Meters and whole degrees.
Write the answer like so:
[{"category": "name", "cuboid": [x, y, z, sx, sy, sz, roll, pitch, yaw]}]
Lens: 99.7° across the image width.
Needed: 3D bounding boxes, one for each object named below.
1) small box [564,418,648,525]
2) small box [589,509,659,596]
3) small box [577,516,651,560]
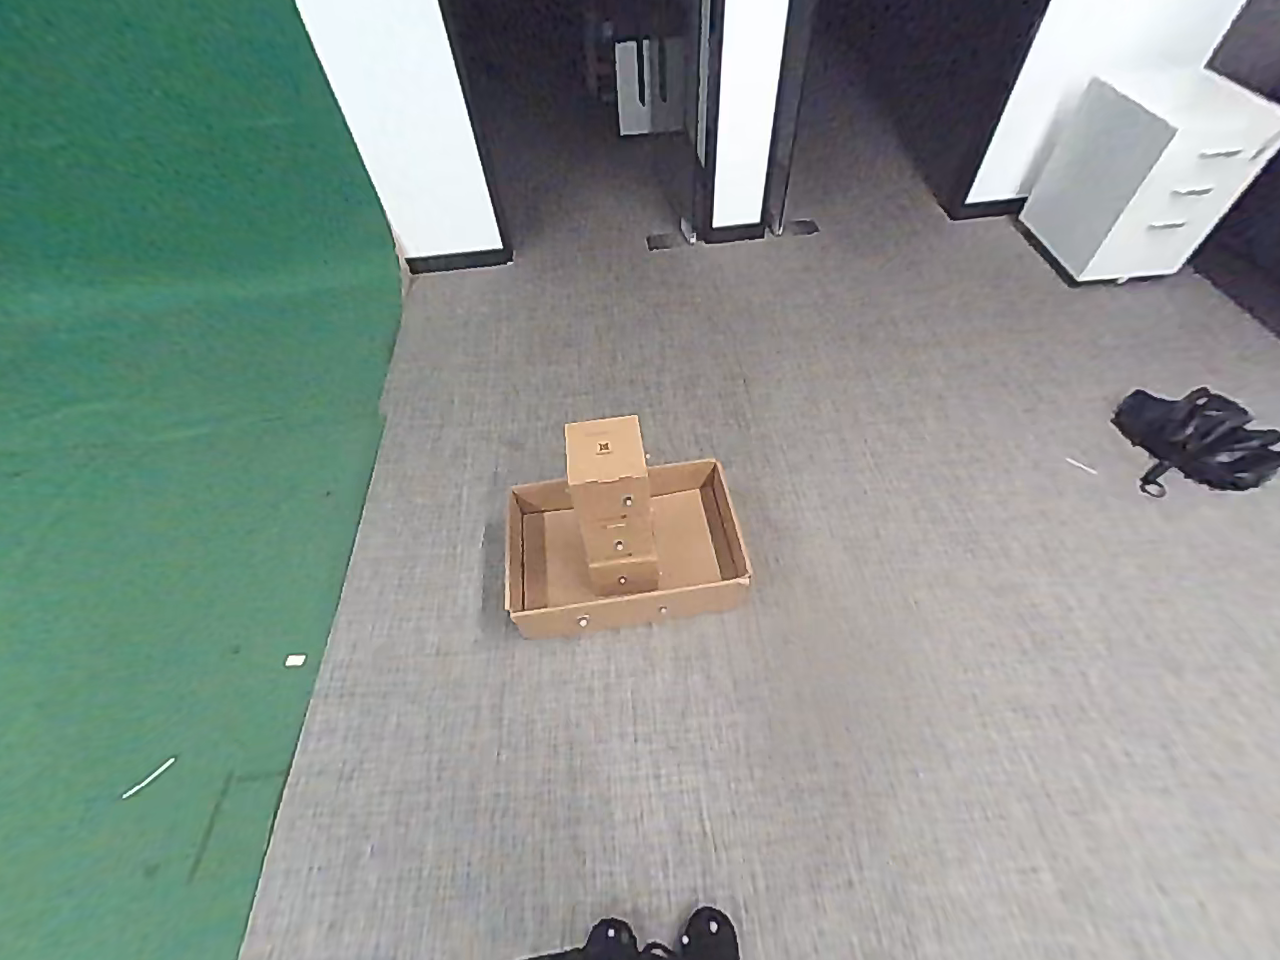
[{"category": "small box", "cuboid": [-0.076, -0.011, 1.219, 0.168, 0.176, 0.179, -7, 51, -3]}, {"category": "small box", "cuboid": [-0.047, 0.199, 1.466, 0.179, 0.176, 0.168, -8, 52, -3]}, {"category": "small box", "cuboid": [-0.065, 0.086, 1.349, 0.168, 0.176, 0.179, -8, 53, -2]}]
